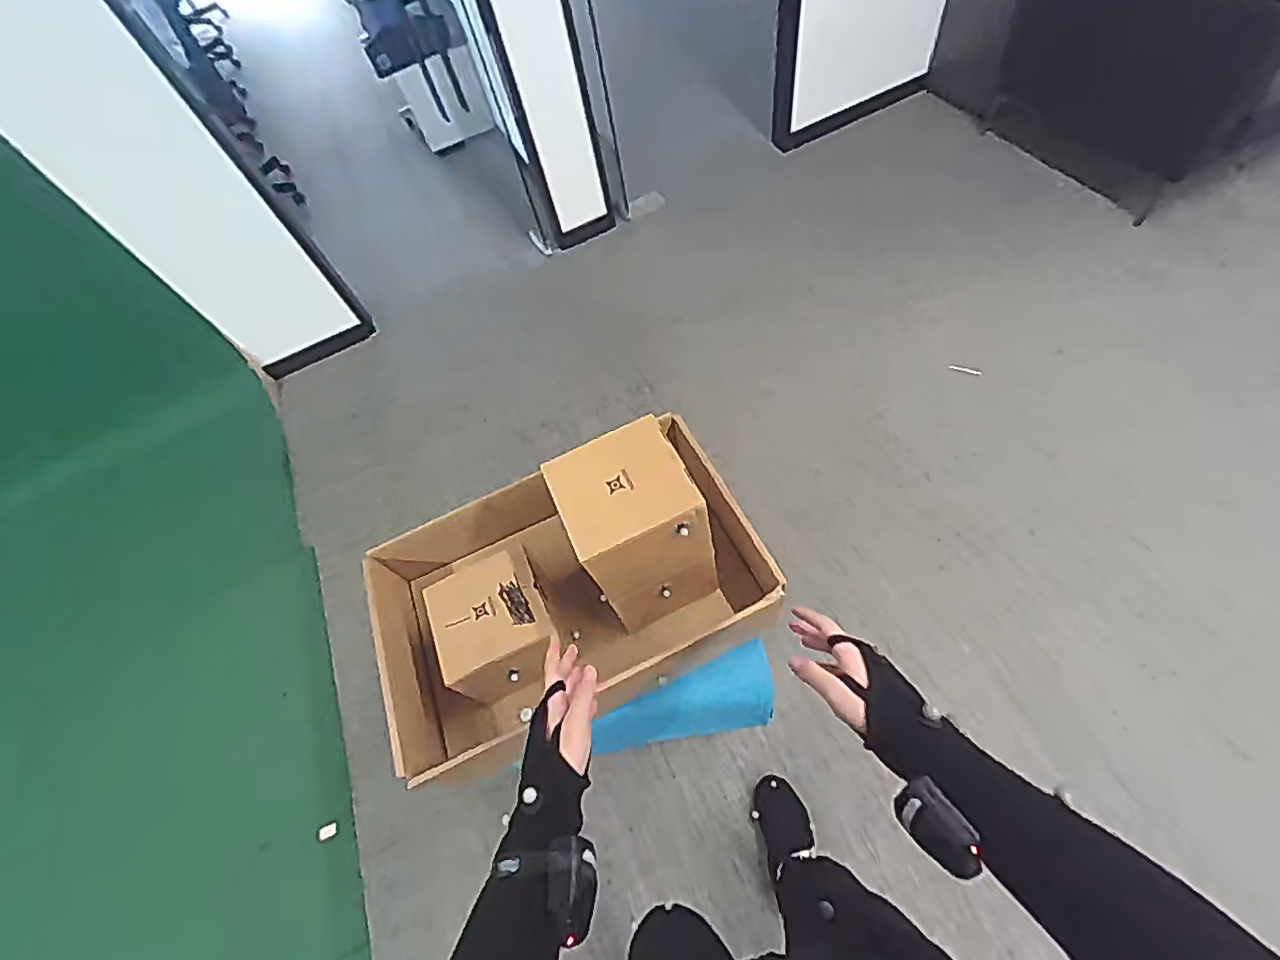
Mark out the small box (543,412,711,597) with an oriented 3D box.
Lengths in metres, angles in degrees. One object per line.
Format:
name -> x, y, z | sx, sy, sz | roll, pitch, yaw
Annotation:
small box -> -0.012, 0.042, 0.772 | 0.179, 0.176, 0.168 | -25, 58, -5
